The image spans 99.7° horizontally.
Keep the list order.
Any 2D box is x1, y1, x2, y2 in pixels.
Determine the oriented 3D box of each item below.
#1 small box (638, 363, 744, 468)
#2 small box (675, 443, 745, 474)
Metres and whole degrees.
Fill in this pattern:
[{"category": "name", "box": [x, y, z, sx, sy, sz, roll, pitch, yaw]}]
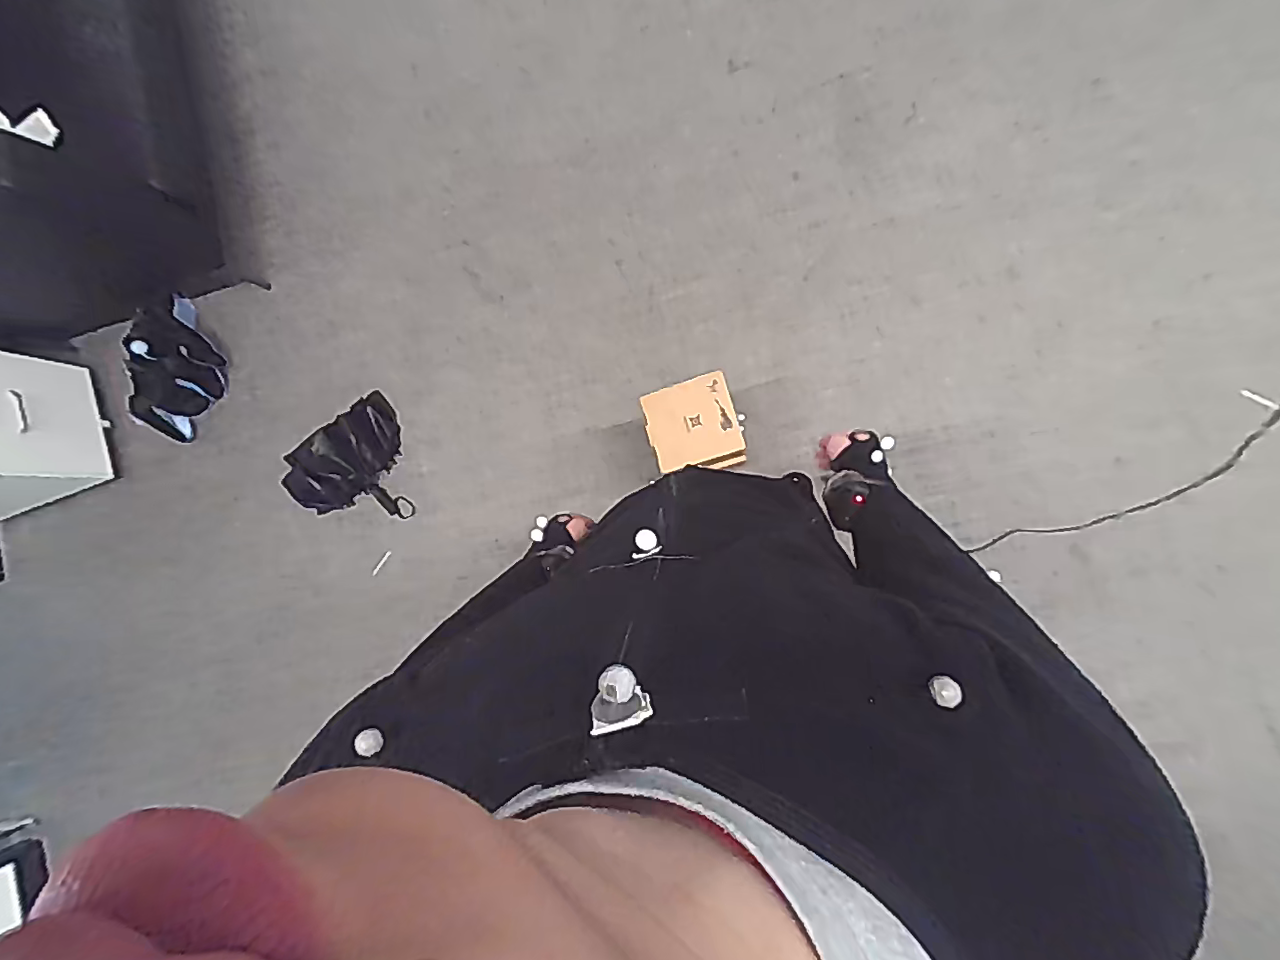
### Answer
[{"category": "small box", "box": [0.115, -0.127, 1.148, 0.179, 0.176, 0.168, -17, 86, 11]}, {"category": "small box", "box": [0.151, -0.119, 1.308, 0.168, 0.176, 0.179, -17, 86, 11]}]
